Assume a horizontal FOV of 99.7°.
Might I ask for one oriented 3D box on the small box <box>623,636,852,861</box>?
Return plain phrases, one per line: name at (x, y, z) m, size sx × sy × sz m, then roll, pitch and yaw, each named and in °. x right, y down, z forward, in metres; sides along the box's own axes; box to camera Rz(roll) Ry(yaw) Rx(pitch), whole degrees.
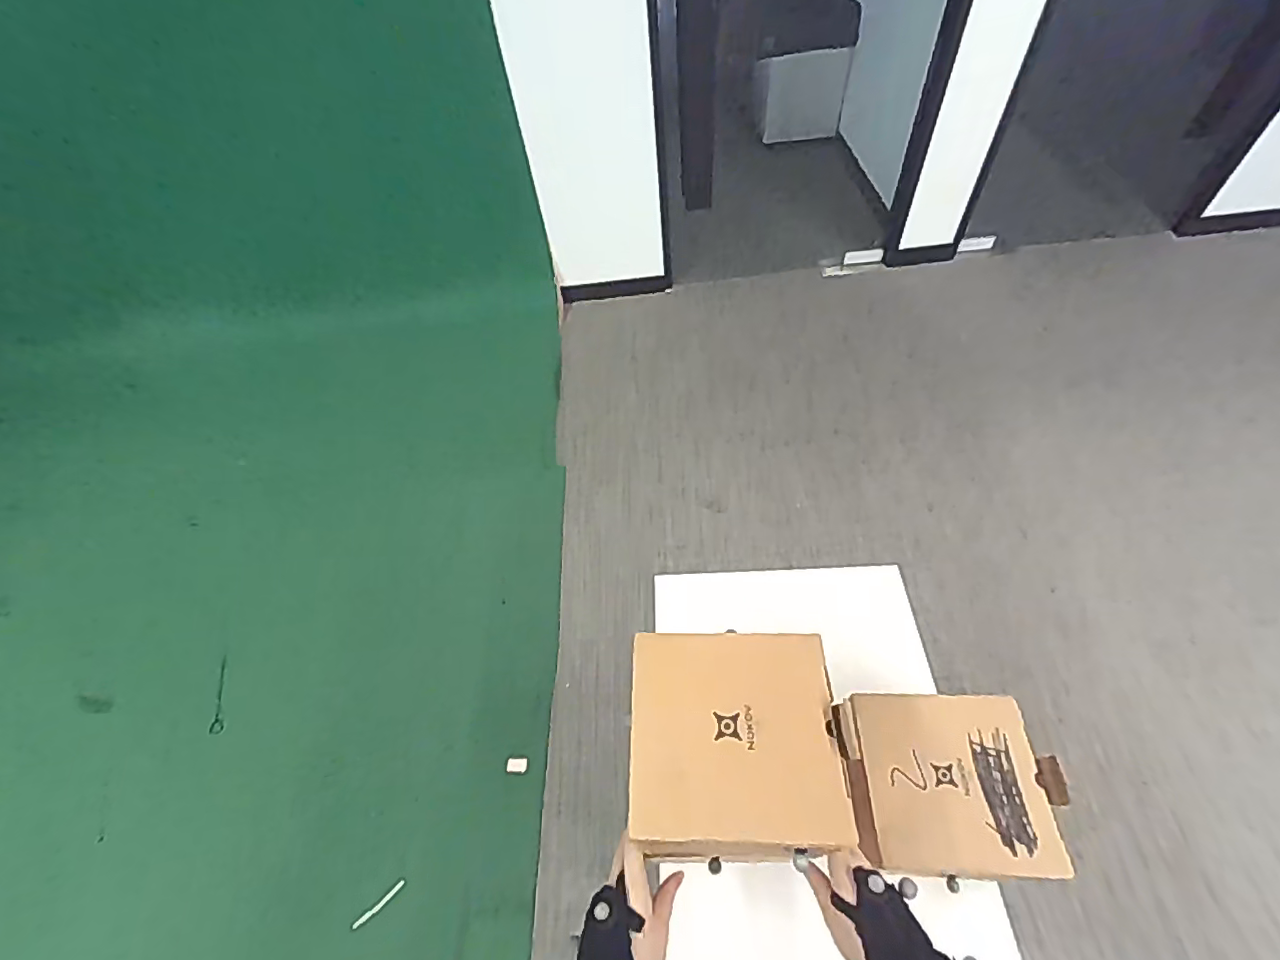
small box at (0.080, 0.261, 0.520) m, size 0.179 × 0.176 × 0.168 m, roll 0°, pitch 53°, yaw 3°
